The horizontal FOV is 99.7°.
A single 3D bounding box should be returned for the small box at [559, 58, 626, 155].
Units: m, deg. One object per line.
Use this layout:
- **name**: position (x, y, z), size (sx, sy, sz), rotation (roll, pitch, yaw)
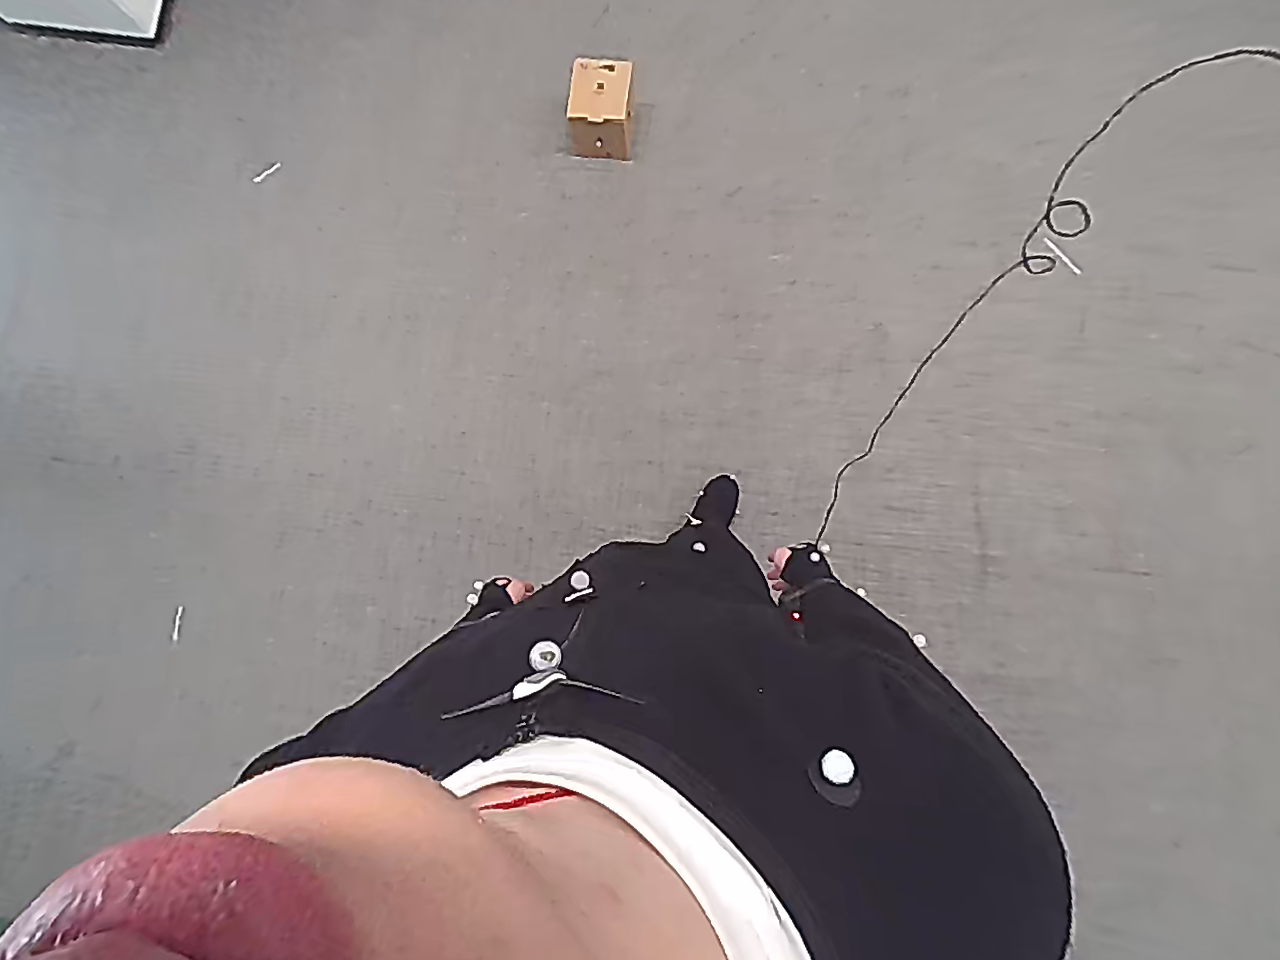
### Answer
- **small box**: position (-0.133, -1.085, 1.581), size (0.168, 0.176, 0.179), rotation (4, 86, 4)
